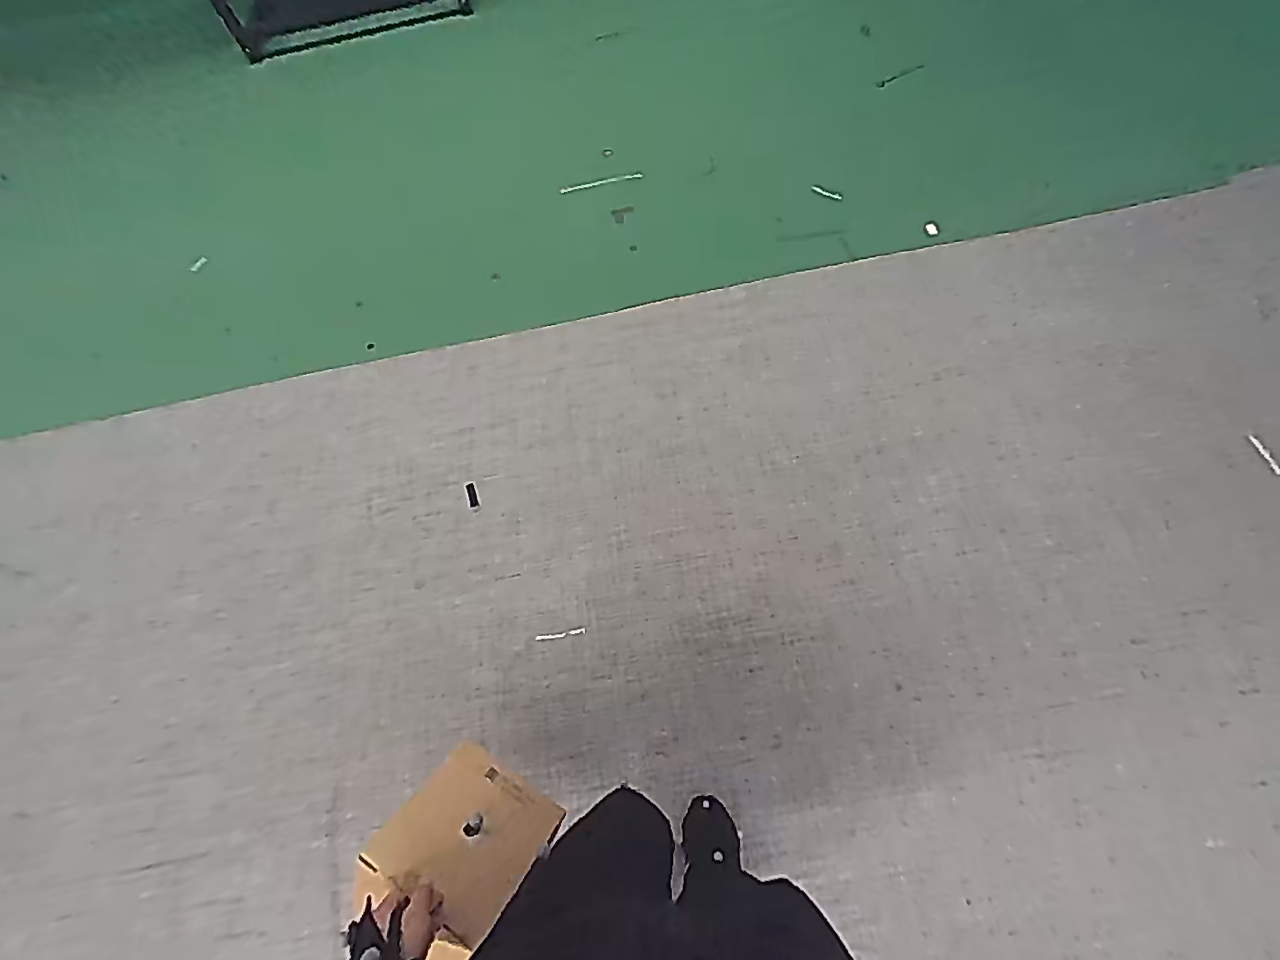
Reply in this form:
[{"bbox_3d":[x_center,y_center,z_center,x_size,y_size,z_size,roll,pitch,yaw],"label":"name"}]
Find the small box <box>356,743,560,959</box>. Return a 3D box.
[{"bbox_3d":[-0.220,0.471,0.671,0.168,0.179,0.176,29,33,14],"label":"small box"}]
